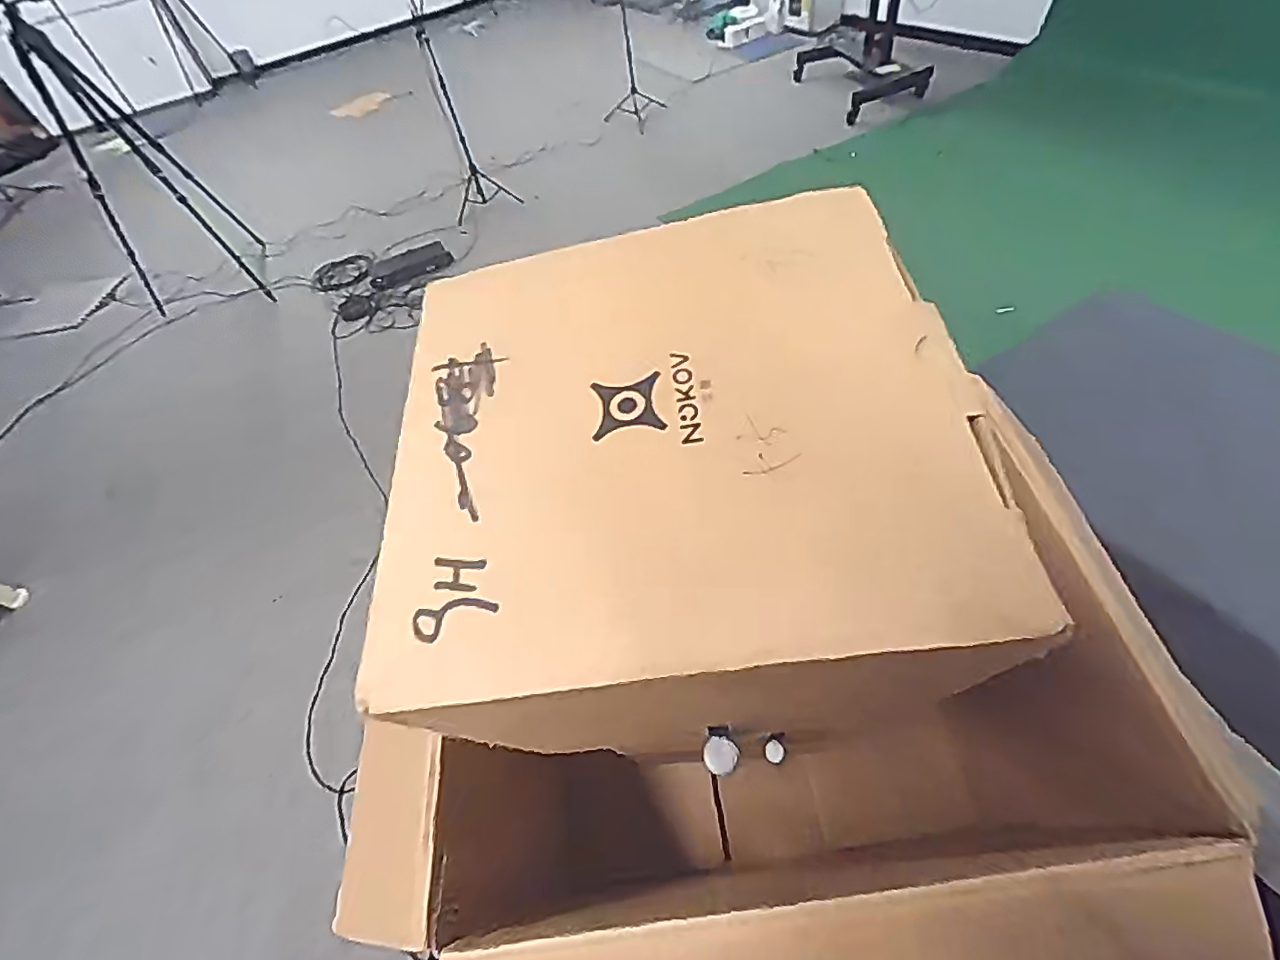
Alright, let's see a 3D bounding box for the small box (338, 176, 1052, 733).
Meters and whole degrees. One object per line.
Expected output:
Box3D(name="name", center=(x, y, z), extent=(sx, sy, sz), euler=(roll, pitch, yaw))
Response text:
Box3D(name="small box", center=(0.015, 0.010, 0.236), extent=(0.179, 0.176, 0.168), euler=(-8, 60, 6))
